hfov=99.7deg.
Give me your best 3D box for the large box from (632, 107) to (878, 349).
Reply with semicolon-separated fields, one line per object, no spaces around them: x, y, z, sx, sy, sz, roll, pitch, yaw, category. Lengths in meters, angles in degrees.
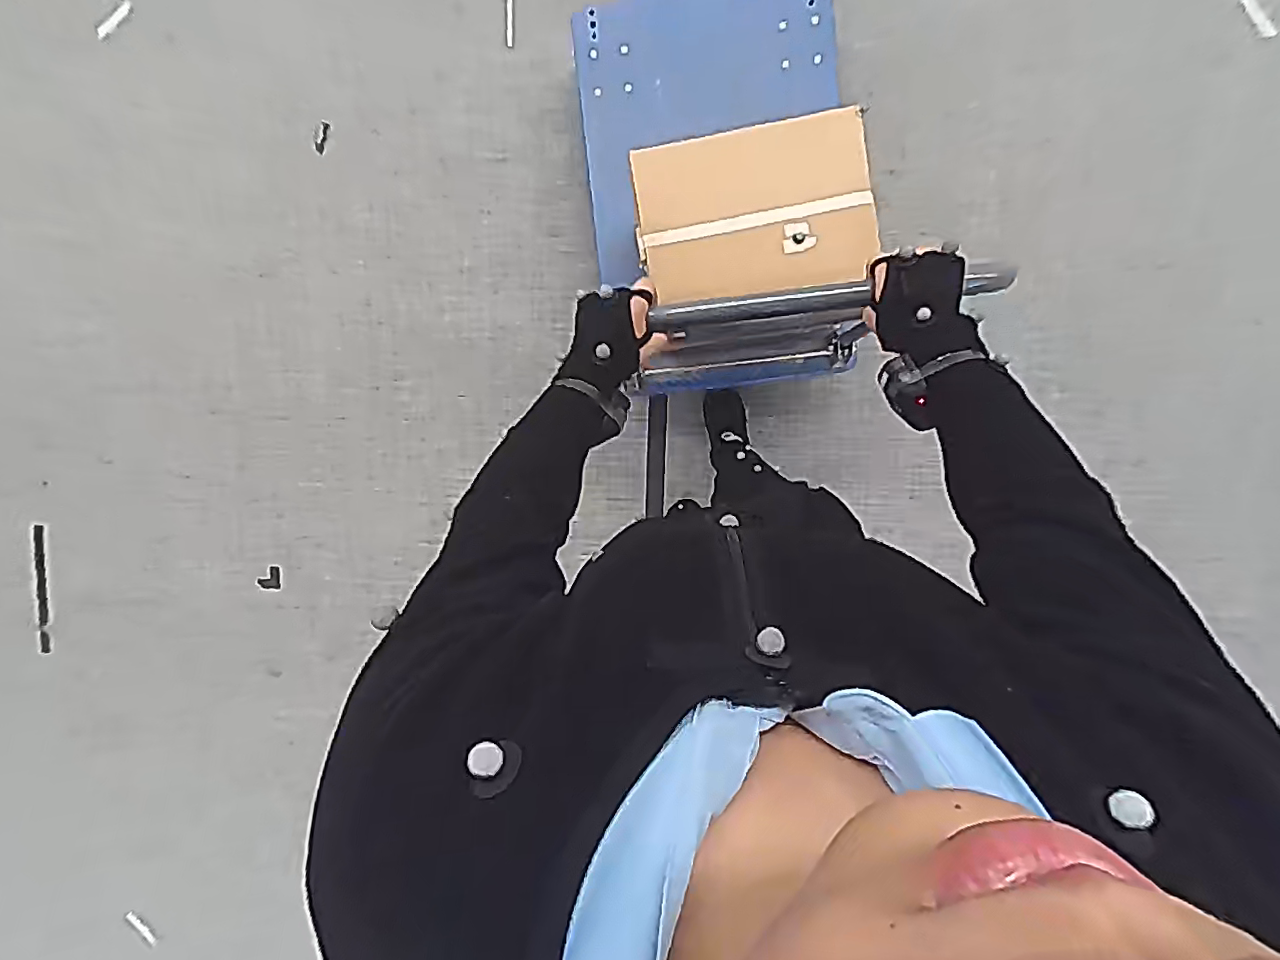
0.211;-0.478;1.111;0.408;0.320;0.320;-9;96;3;large box
